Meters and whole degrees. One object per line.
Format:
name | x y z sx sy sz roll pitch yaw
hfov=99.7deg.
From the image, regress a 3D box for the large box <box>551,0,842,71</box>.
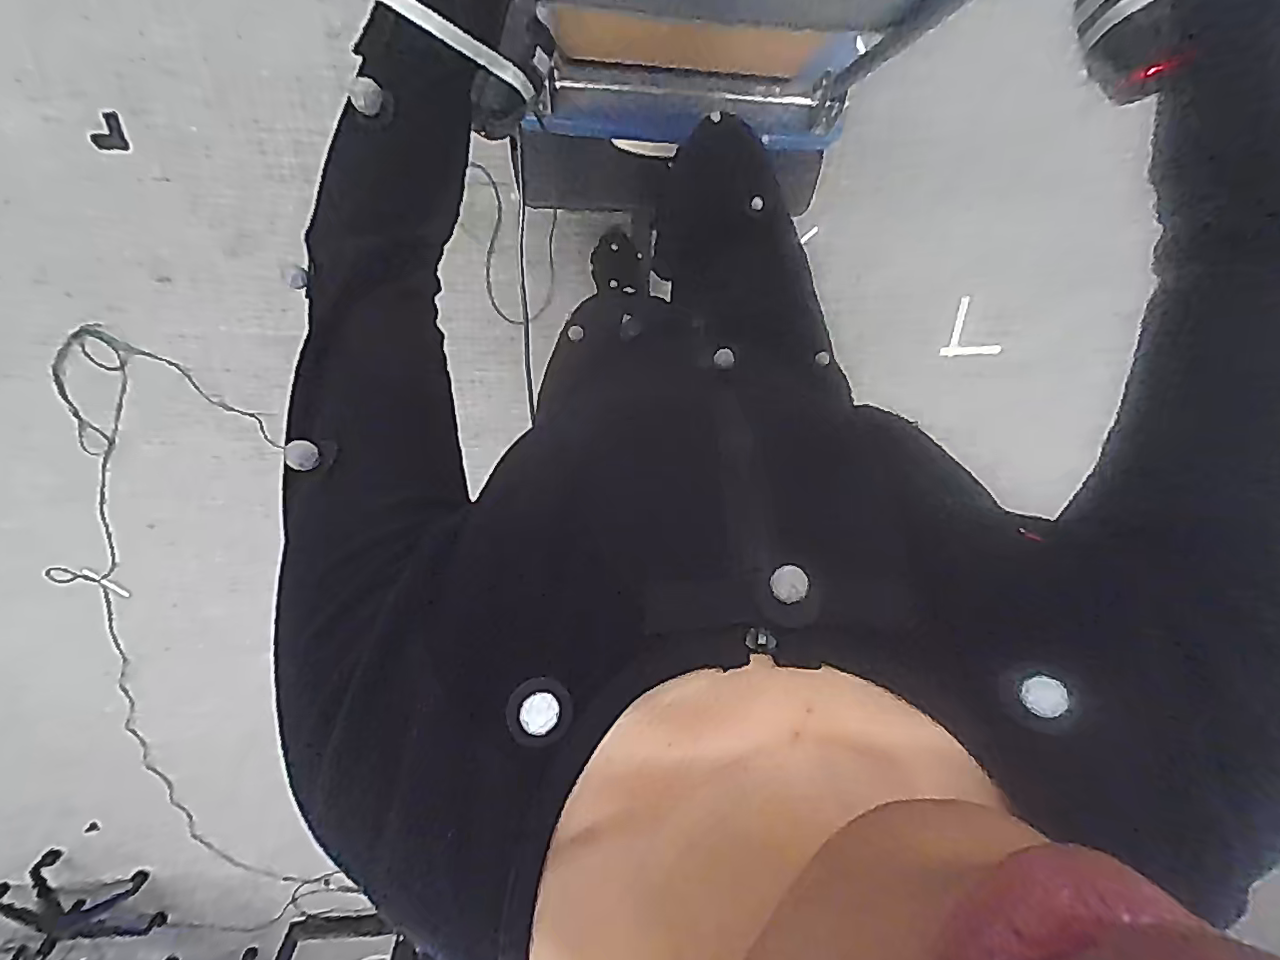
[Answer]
large box | 0.075 -0.806 0.731 0.408 0.320 0.320 0 108 -6
